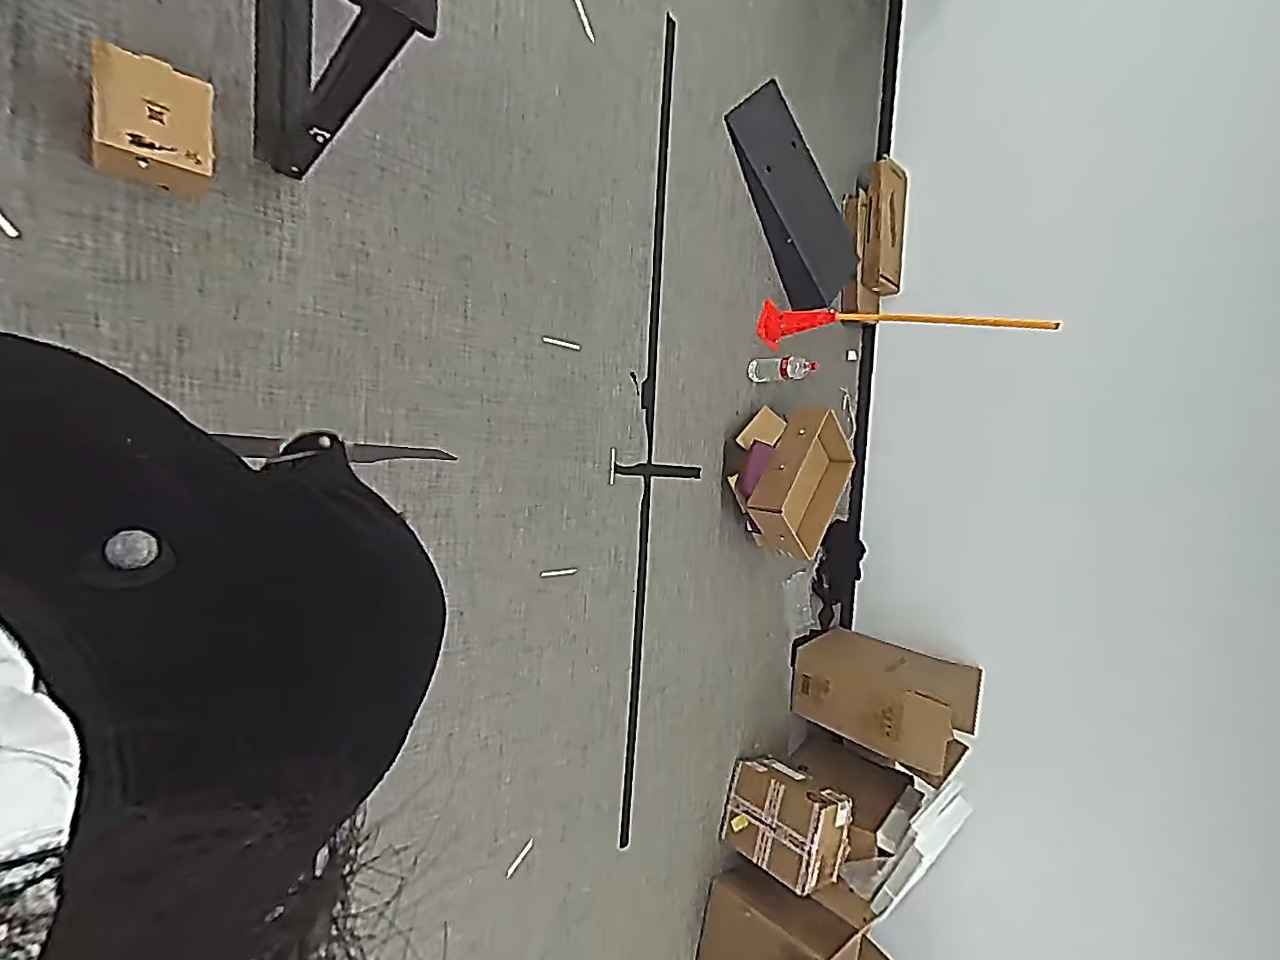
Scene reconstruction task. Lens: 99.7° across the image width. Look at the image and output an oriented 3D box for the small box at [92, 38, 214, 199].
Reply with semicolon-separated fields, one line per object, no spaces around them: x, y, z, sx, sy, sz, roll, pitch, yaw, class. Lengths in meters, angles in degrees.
-0.939;-0.679;1.043;0.168;0.176;0.179;0;94;-44;small box
